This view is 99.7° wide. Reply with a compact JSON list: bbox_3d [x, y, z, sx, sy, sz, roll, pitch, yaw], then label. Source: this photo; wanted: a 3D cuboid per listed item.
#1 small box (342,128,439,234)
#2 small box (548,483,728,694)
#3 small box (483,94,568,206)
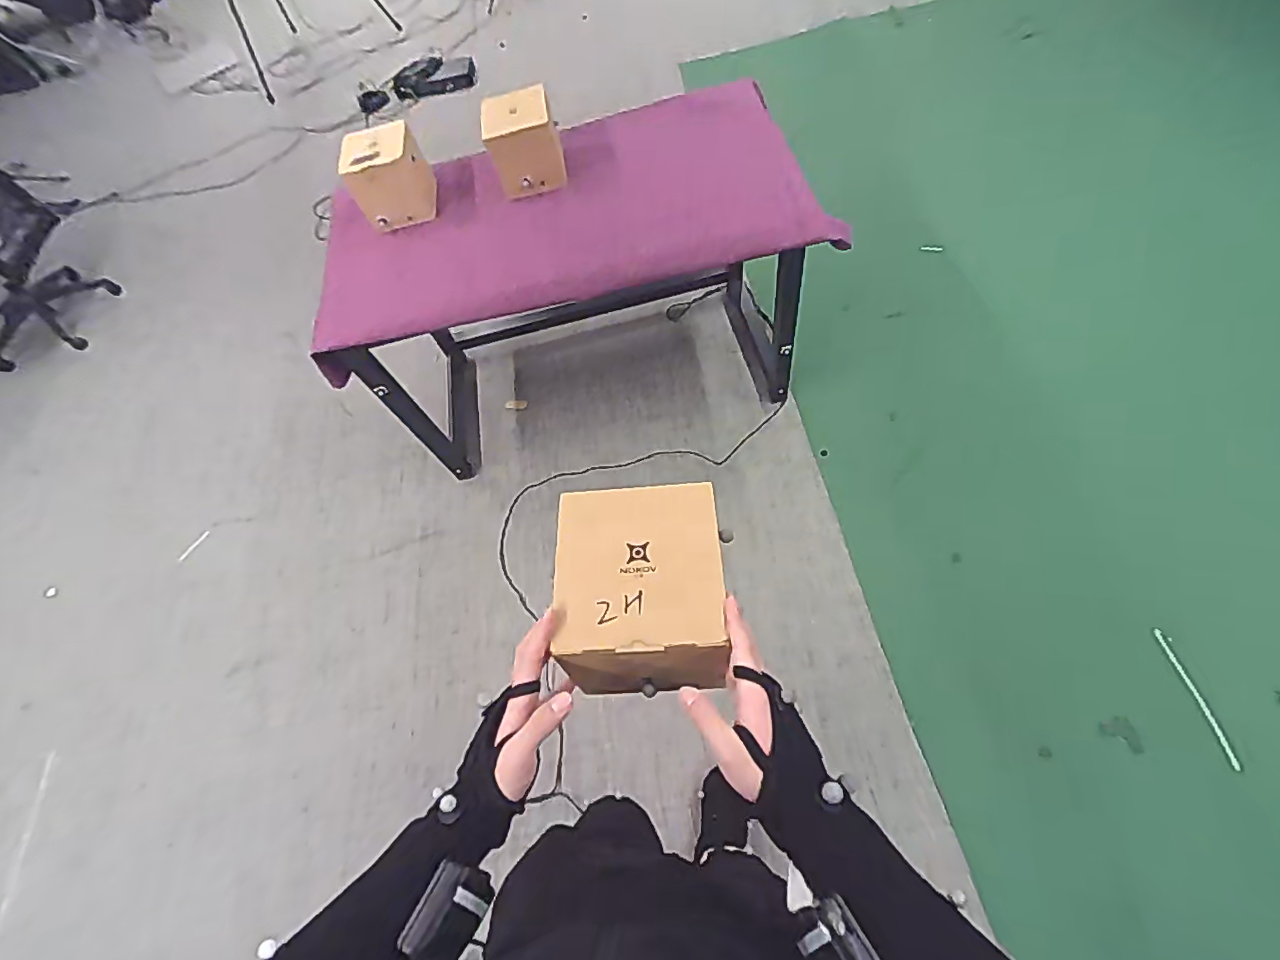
[{"bbox_3d":[-0.641,-0.769,1.409,0.168,0.176,0.179,-13,60,3],"label":"small box"},{"bbox_3d":[0.005,0.124,0.598,0.168,0.176,0.179,-4,55,5],"label":"small box"},{"bbox_3d":[-0.291,-0.842,1.388,0.168,0.176,0.179,-12,61,4],"label":"small box"}]
